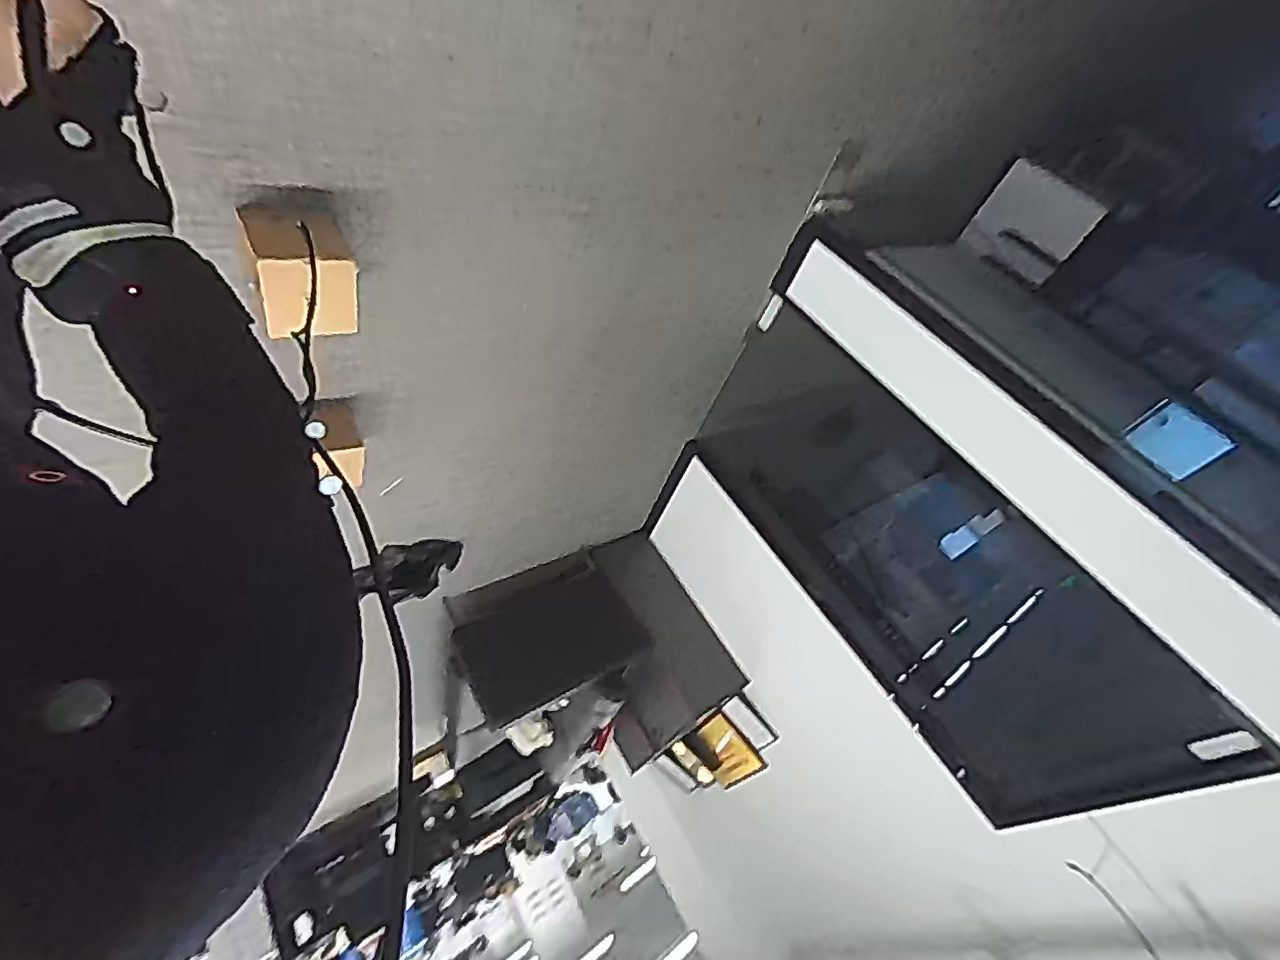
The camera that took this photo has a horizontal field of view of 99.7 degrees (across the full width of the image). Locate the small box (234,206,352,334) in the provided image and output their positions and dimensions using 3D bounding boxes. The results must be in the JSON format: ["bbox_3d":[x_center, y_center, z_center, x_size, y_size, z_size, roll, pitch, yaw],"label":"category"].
[{"bbox_3d":[-0.695,-0.420,1.093,0.168,0.176,0.179,-16,149,-36],"label":"small box"}]

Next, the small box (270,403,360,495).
[{"bbox_3d":[-0.877,-0.089,1.455,0.179,0.176,0.168,-15,150,-40],"label":"small box"}]
